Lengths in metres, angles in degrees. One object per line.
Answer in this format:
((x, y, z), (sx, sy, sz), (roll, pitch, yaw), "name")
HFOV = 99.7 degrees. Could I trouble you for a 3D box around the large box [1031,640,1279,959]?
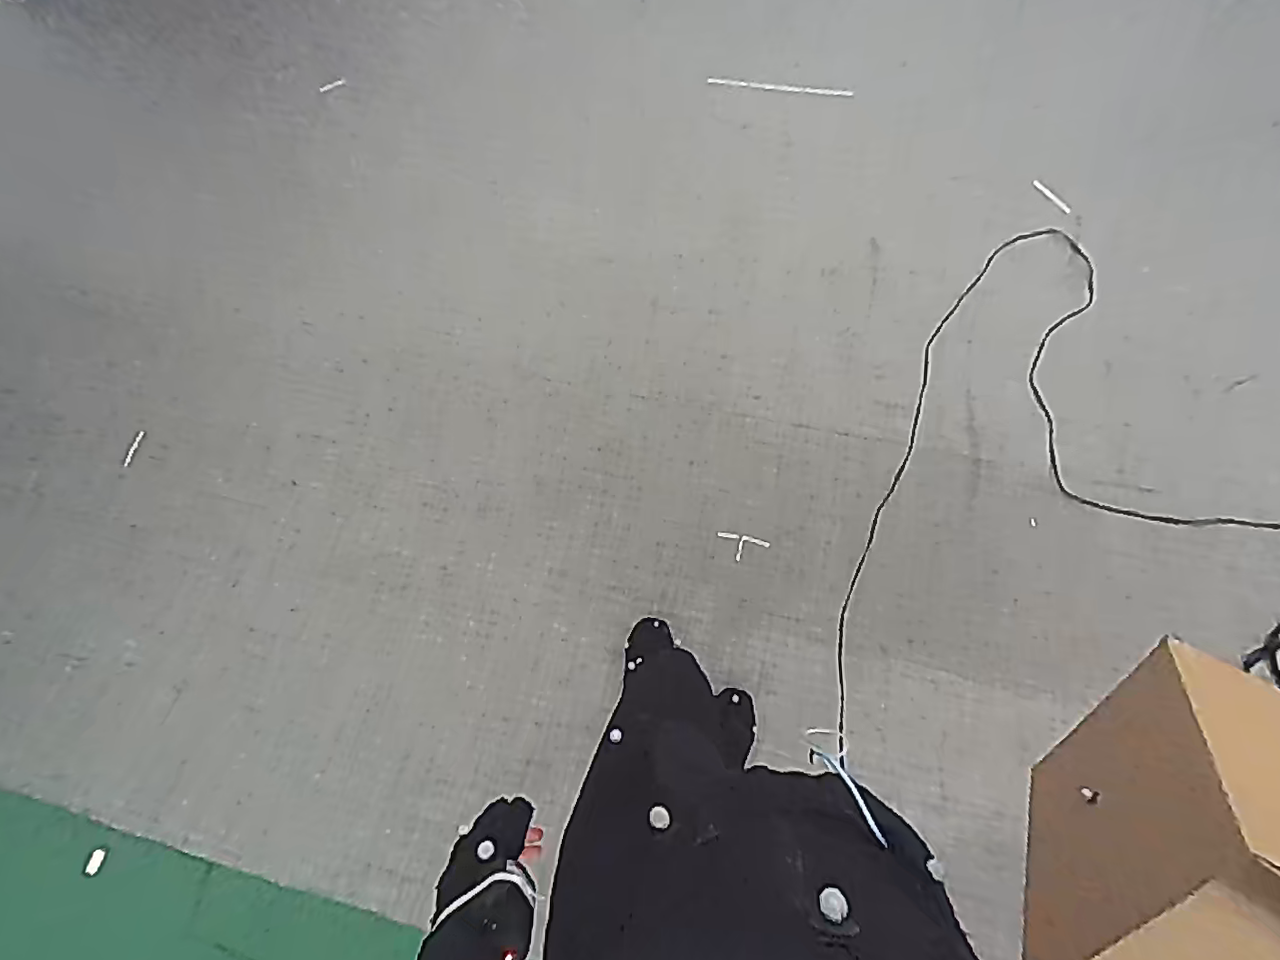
((0.690, 0.467, 0.607), (0.320, 0.408, 0.320), (33, 120, 25), "large box")
